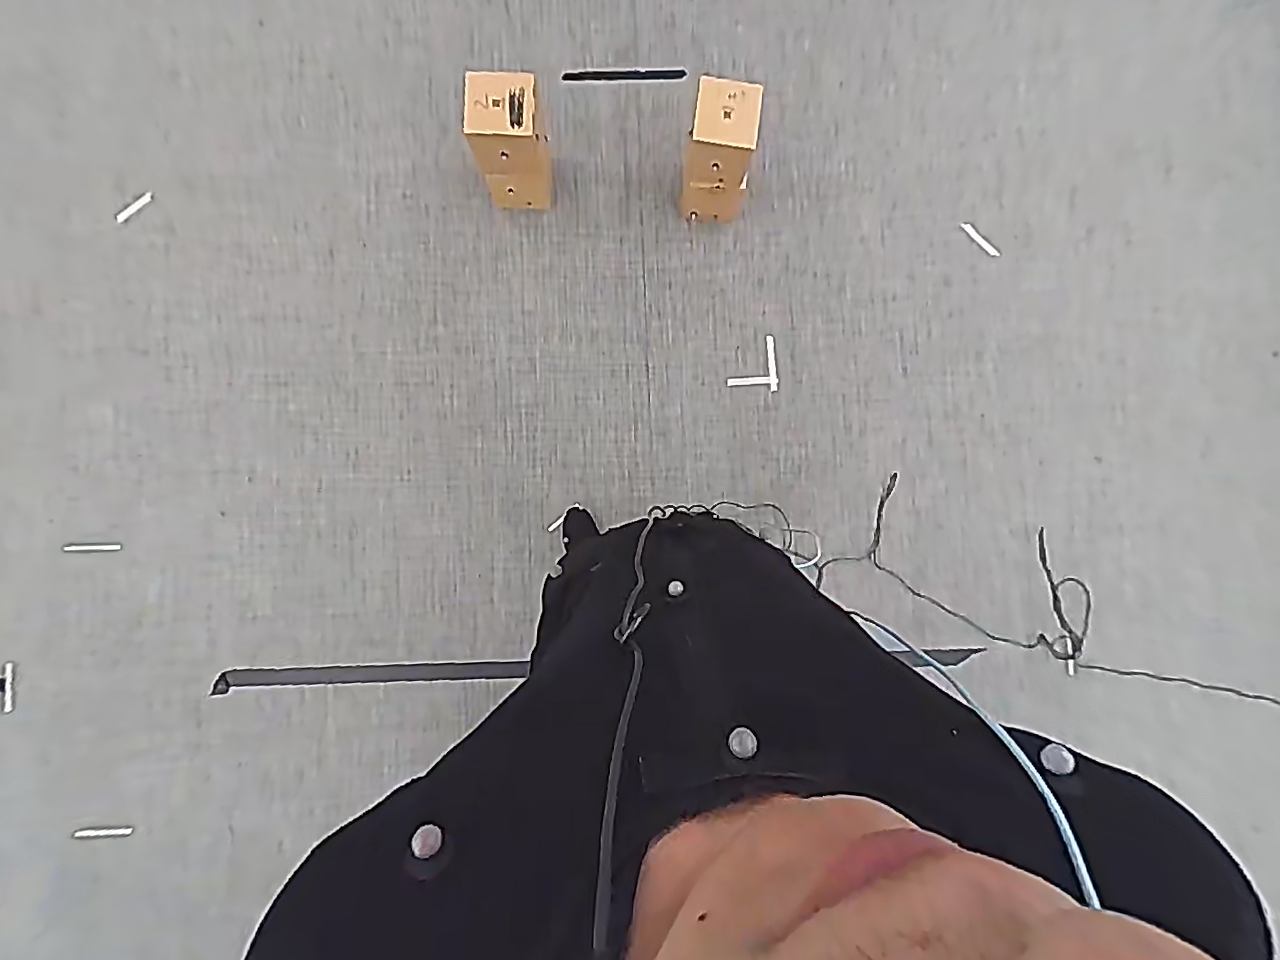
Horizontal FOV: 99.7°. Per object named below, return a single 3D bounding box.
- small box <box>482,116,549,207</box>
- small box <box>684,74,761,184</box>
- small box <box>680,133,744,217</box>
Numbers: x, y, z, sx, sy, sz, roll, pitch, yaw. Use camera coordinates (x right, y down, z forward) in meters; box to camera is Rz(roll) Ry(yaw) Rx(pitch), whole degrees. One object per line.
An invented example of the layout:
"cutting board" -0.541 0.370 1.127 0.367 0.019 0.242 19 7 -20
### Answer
"small box" -0.360 -0.929 1.590 0.168 0.176 0.179 0 87 -2
"small box" 0.214 -0.929 1.447 0.168 0.176 0.179 8 87 -3
"small box" 0.213 -0.909 1.611 0.168 0.176 0.179 2 86 -3
